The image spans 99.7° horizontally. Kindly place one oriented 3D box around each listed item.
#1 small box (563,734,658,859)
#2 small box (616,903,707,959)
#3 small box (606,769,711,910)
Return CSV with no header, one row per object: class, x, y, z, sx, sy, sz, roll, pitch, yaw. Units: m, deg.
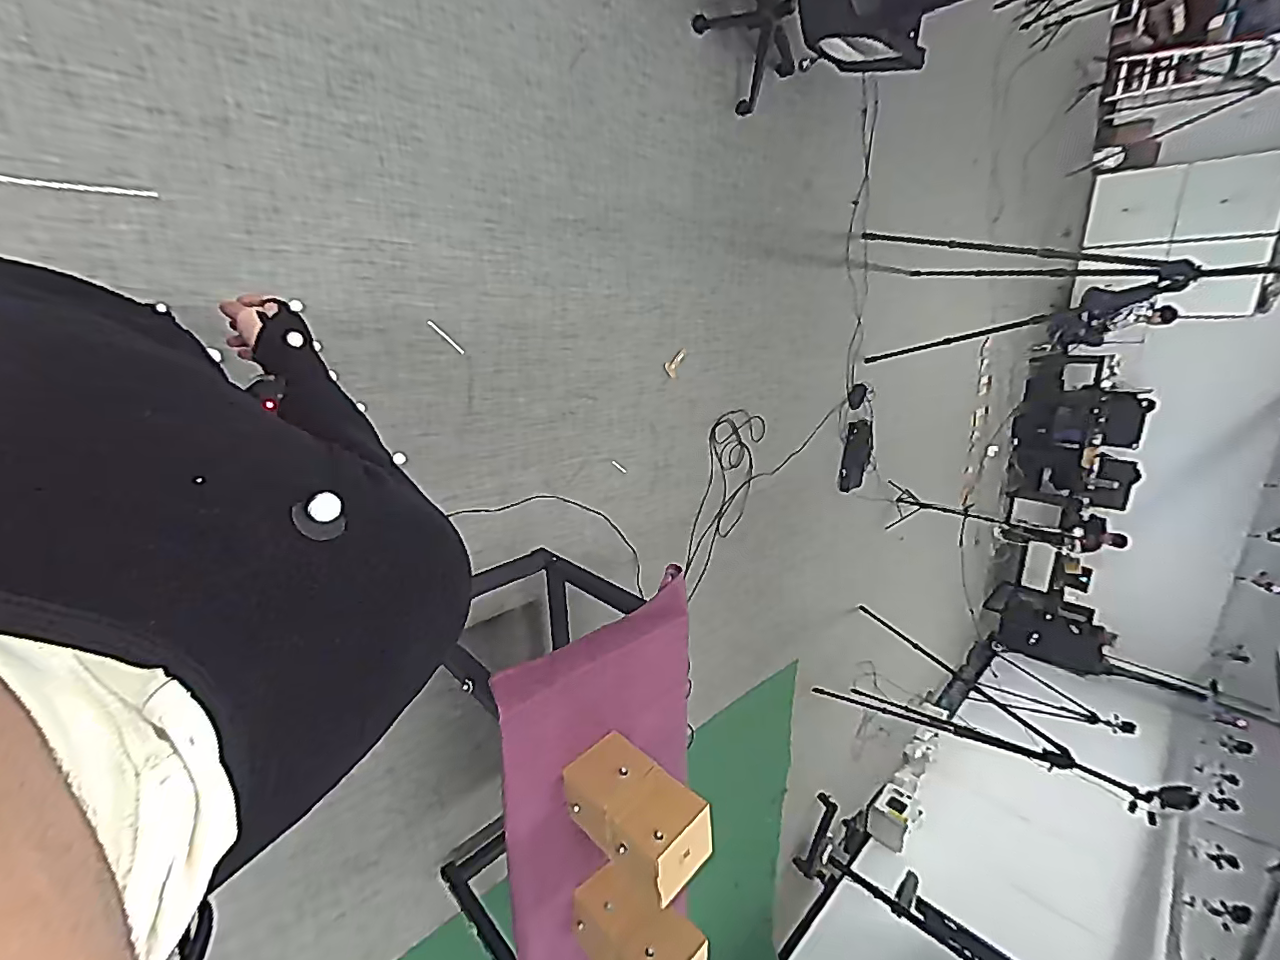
small box,-0.070,0.784,1.363,0.179,0.176,0.168,-21,115,-39
small box,0.048,1.228,1.370,0.179,0.176,0.168,-13,110,-41
small box,0.045,0.818,1.253,0.179,0.176,0.168,-23,117,-38
